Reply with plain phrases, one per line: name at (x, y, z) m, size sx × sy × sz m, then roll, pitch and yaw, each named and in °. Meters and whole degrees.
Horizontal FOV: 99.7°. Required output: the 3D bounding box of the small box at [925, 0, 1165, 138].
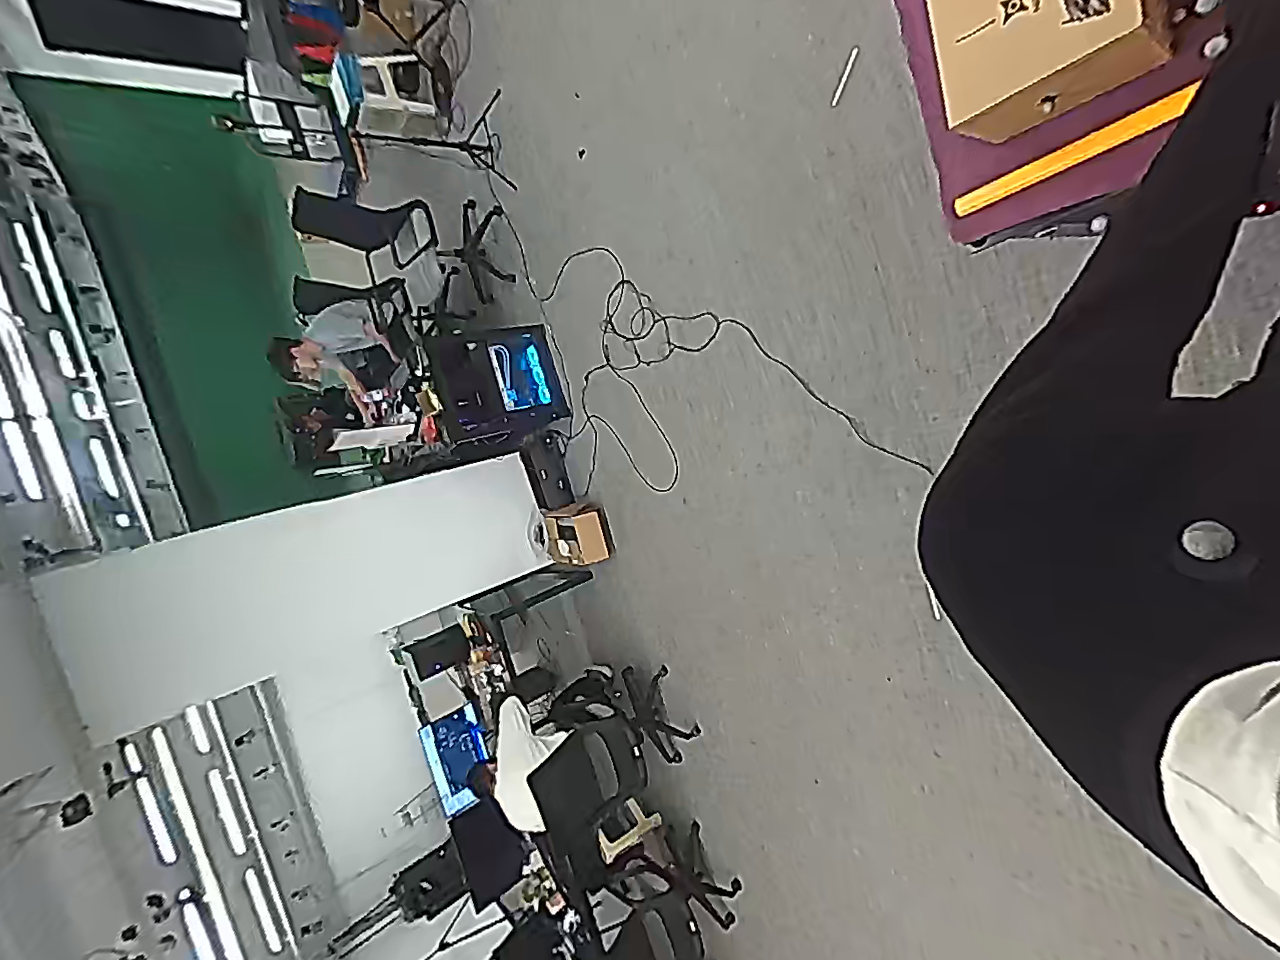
small box at (0.455, -0.517, 0.606) m, size 0.179 × 0.176 × 0.168 m, roll -4°, pitch 102°, yaw 53°
